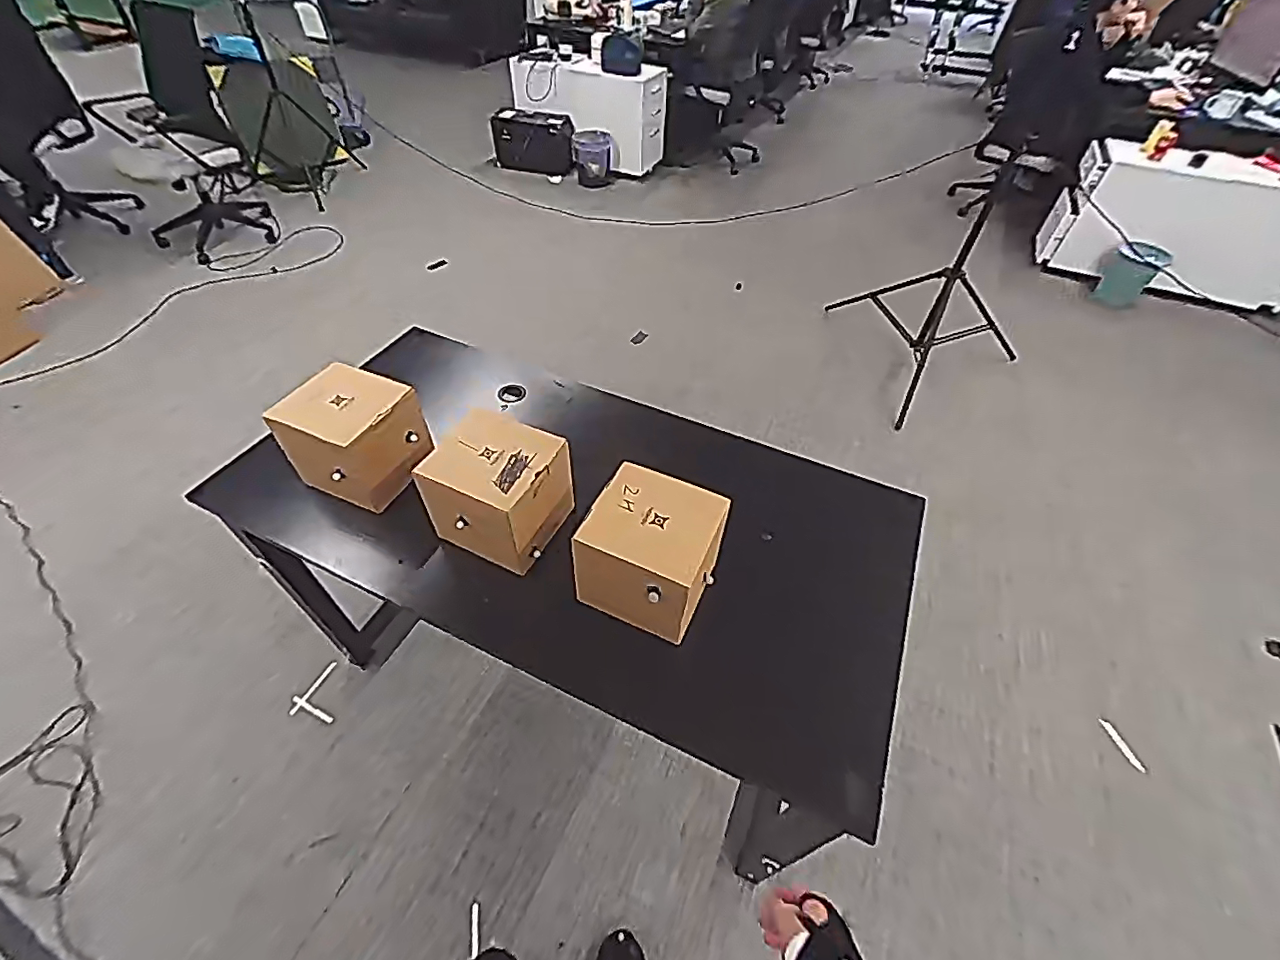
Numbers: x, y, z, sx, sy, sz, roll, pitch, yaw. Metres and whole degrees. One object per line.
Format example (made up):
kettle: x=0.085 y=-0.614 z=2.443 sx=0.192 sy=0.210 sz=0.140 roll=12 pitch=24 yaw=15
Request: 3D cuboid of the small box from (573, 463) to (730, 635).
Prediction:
small box: x=0.017 y=0.109 z=0.819 sx=0.179 sy=0.176 sz=0.168 roll=20 pitch=50 yaw=15

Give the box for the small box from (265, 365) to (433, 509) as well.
small box: x=-0.499 y=-0.072 z=0.961 sx=0.179 sy=0.176 sz=0.168 roll=18 pitch=49 yaw=14

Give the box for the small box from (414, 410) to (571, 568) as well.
small box: x=-0.228 y=0.019 z=0.889 sx=0.179 sy=0.176 sz=0.168 roll=20 pitch=51 yaw=16
